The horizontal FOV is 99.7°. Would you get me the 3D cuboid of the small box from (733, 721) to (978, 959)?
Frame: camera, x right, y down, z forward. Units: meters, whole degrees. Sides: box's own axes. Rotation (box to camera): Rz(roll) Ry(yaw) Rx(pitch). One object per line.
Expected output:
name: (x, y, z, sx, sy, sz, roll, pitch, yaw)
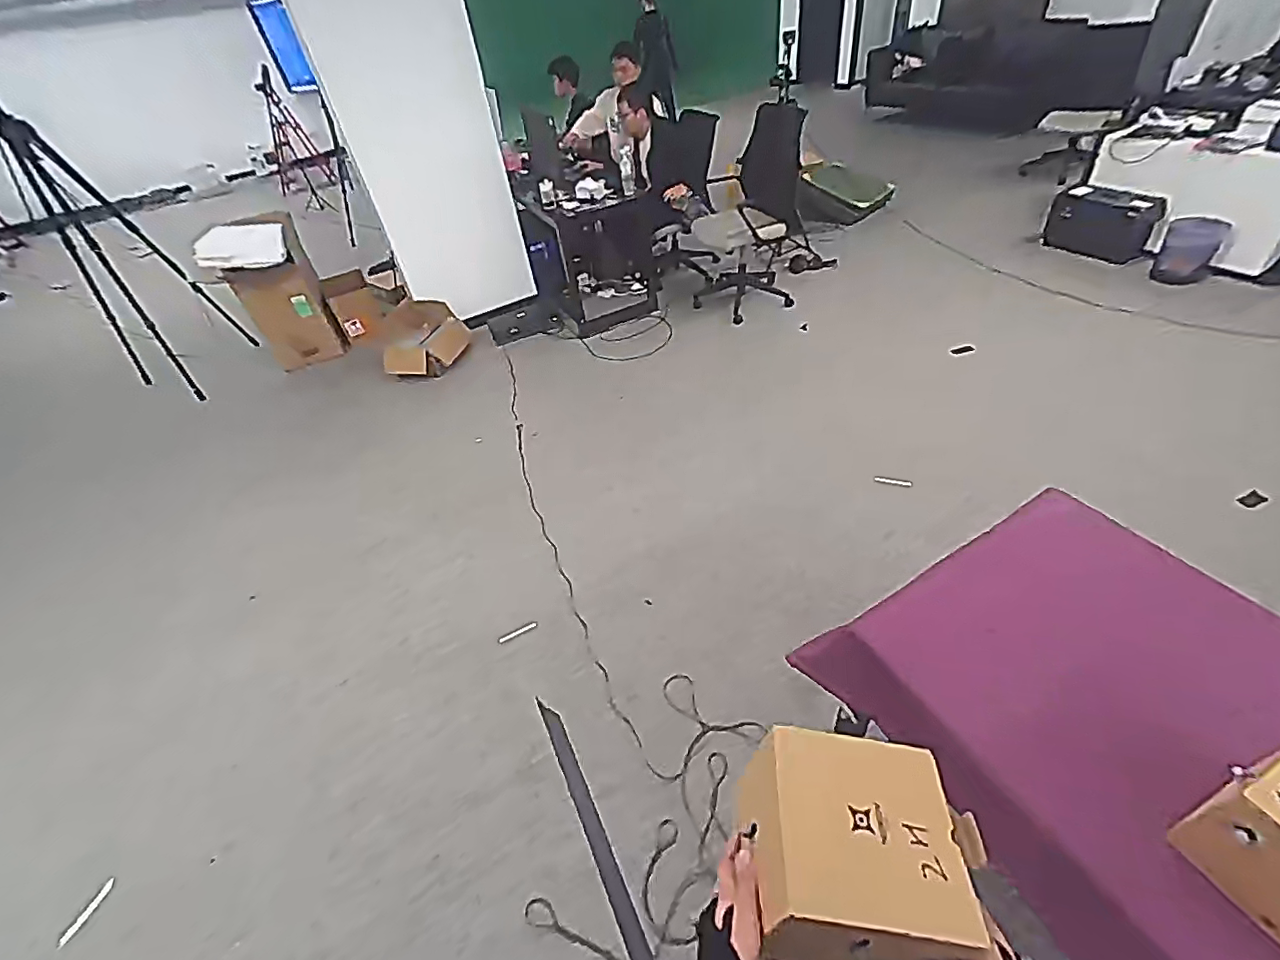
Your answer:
small box: (0.199, 0.383, 0.566, 0.179, 0.176, 0.168, 10, 39, -1)
